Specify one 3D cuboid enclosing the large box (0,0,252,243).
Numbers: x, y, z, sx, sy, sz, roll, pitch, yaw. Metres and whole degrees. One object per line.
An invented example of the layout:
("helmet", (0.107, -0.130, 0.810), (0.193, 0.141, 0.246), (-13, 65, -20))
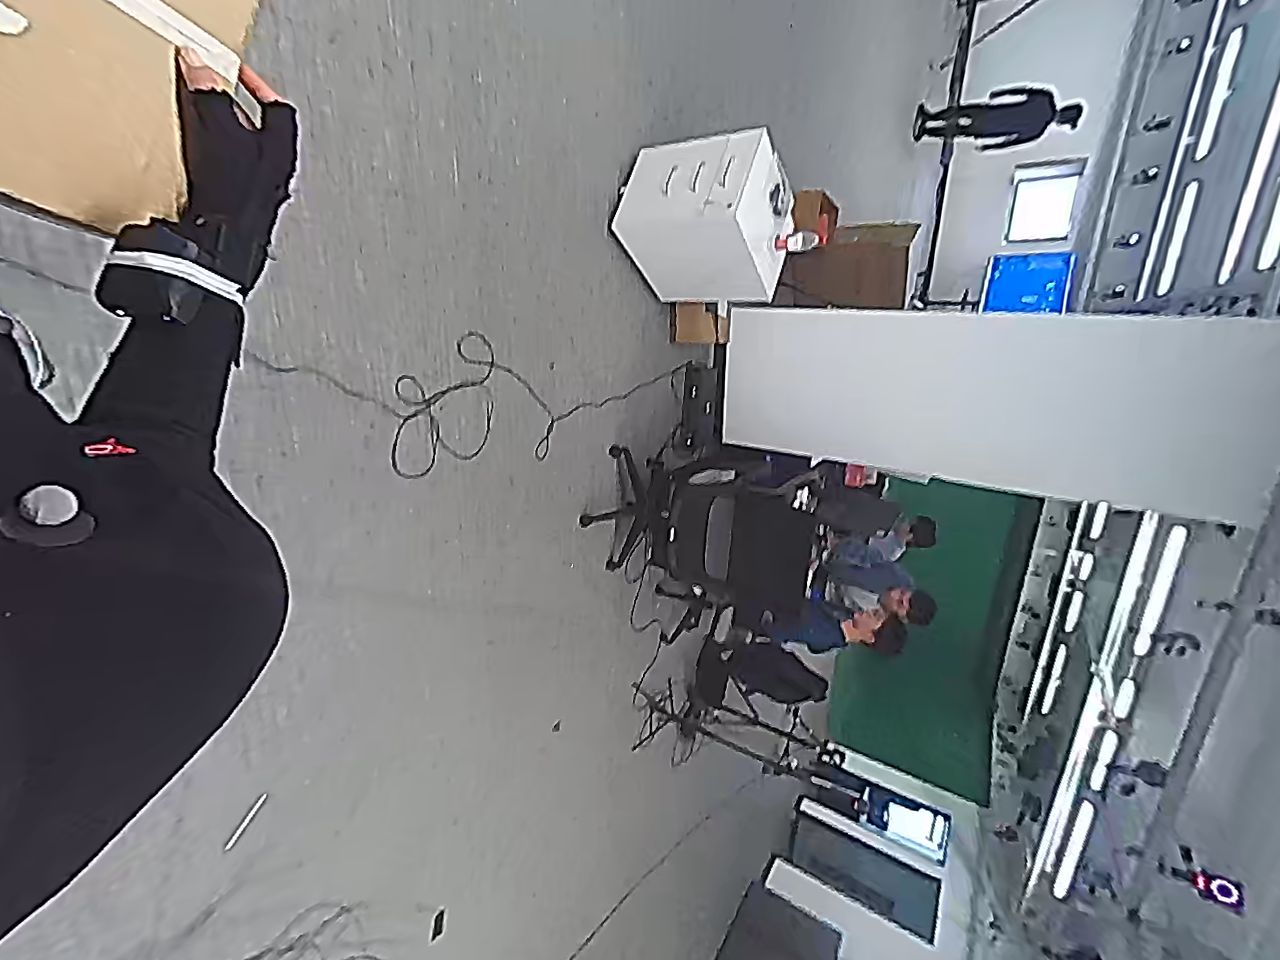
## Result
("large box", (-0.551, -0.406, 0.342), (0.408, 0.320, 0.320), (14, 98, -61))
